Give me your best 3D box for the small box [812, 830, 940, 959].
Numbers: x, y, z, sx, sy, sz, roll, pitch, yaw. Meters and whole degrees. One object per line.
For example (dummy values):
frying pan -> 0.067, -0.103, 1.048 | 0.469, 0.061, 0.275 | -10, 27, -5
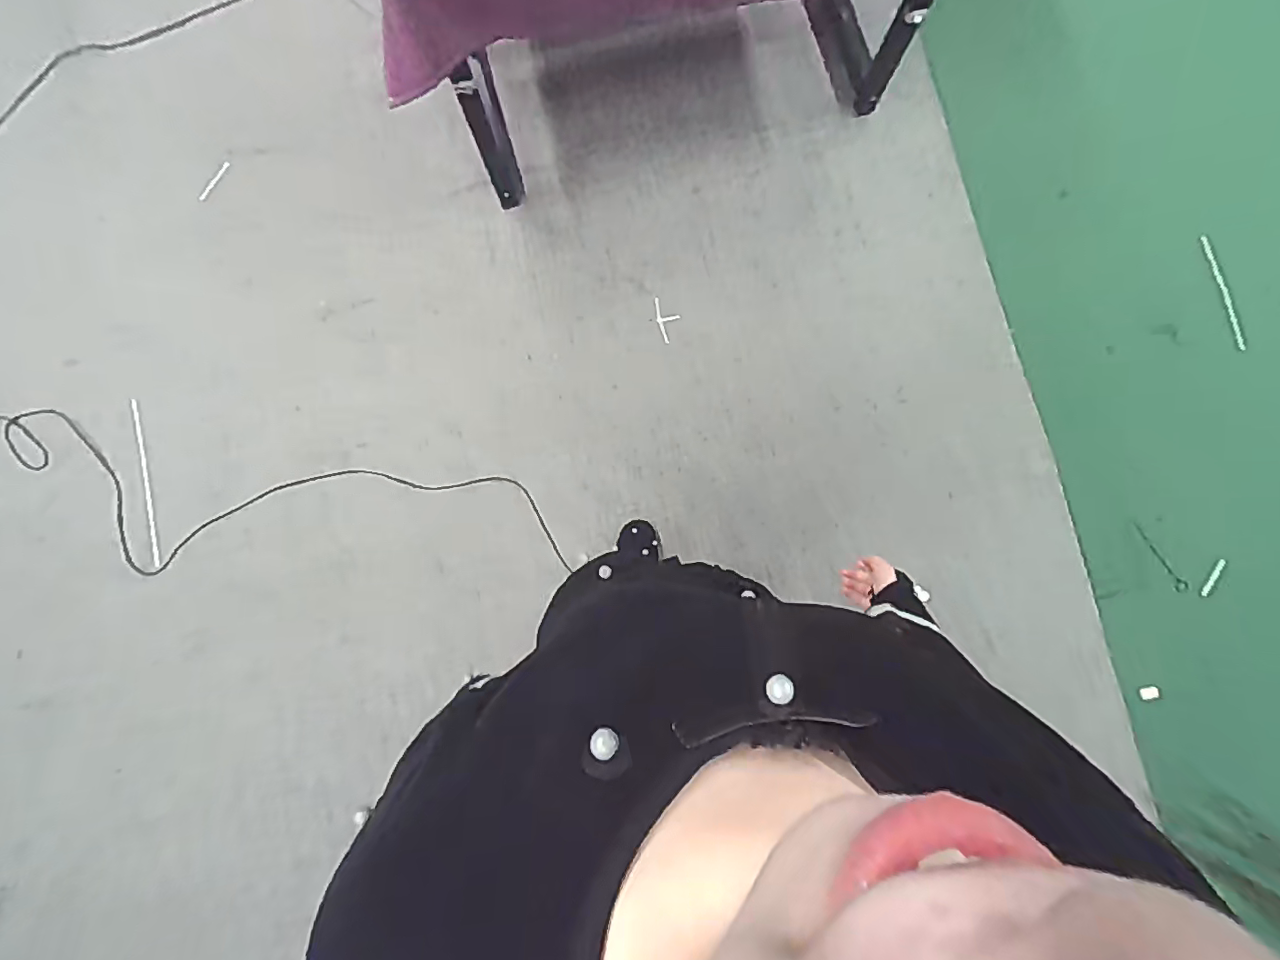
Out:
small box -> 0.443, 0.813, 1.034 | 0.168, 0.176, 0.179 | -7, 85, 0
